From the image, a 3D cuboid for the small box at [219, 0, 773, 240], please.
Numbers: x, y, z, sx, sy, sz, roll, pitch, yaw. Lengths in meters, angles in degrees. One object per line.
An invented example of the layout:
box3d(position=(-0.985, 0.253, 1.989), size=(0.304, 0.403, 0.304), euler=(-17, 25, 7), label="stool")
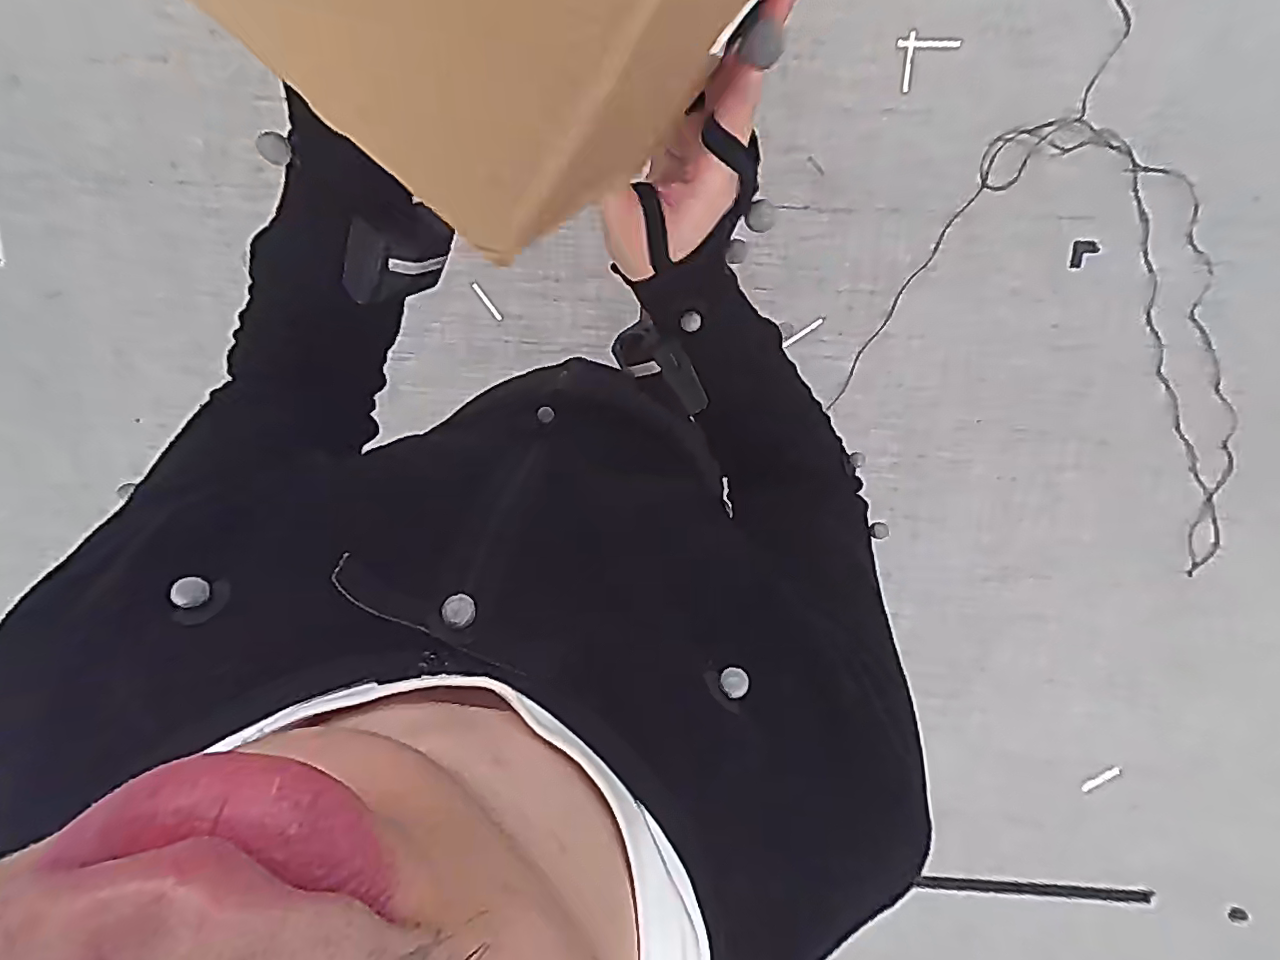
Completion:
box3d(position=(-0.030, -0.204, 0.142), size=(0.179, 0.176, 0.168), euler=(37, 129, -13), label="small box")
